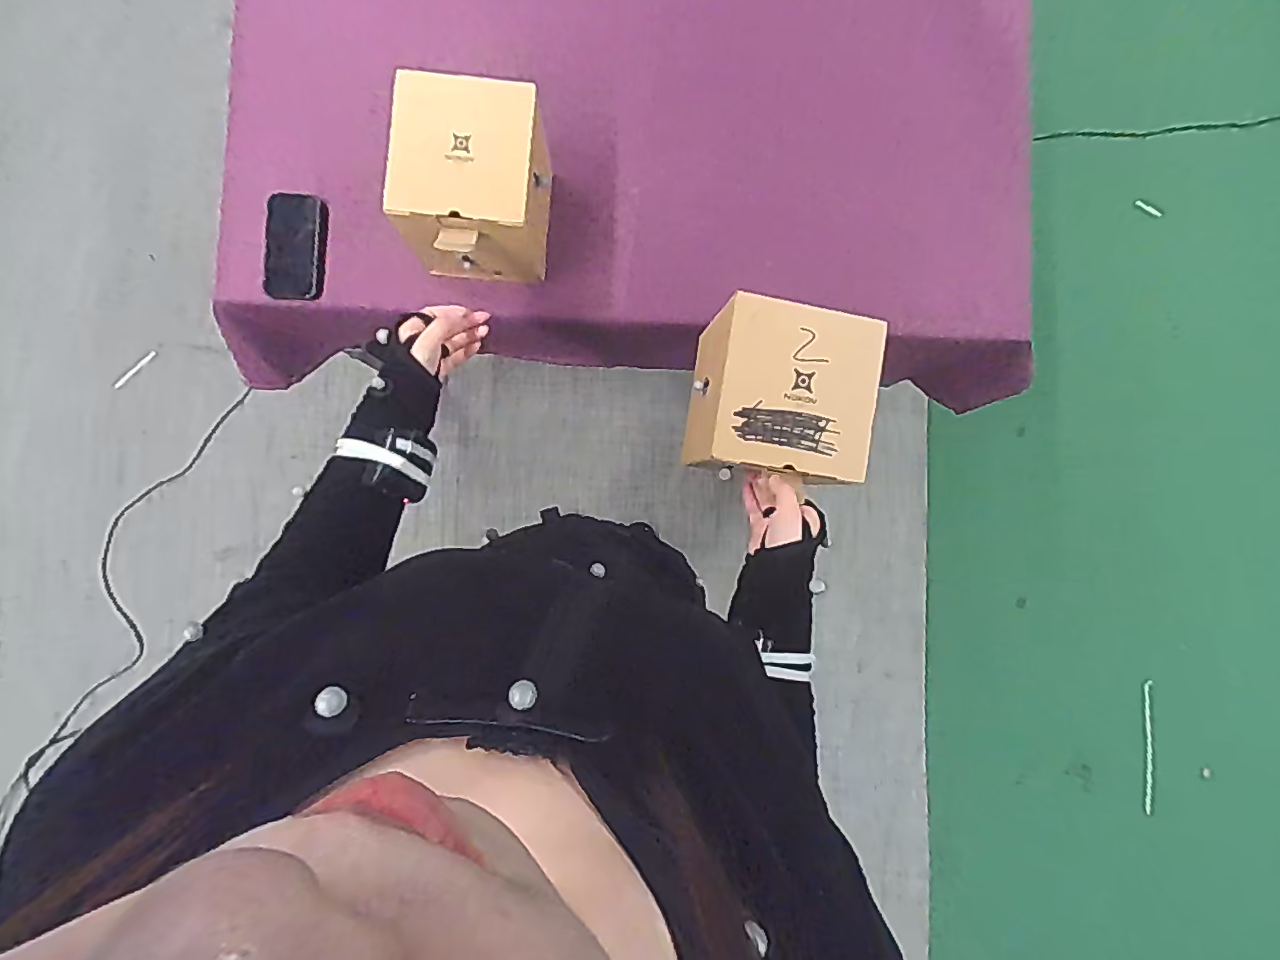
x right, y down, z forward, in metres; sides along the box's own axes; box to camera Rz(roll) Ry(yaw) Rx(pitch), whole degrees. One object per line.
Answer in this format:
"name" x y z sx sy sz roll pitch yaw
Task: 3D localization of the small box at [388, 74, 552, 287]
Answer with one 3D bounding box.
"small box" -0.210 -0.381 0.715 0.168 0.176 0.179 5 87 -3
